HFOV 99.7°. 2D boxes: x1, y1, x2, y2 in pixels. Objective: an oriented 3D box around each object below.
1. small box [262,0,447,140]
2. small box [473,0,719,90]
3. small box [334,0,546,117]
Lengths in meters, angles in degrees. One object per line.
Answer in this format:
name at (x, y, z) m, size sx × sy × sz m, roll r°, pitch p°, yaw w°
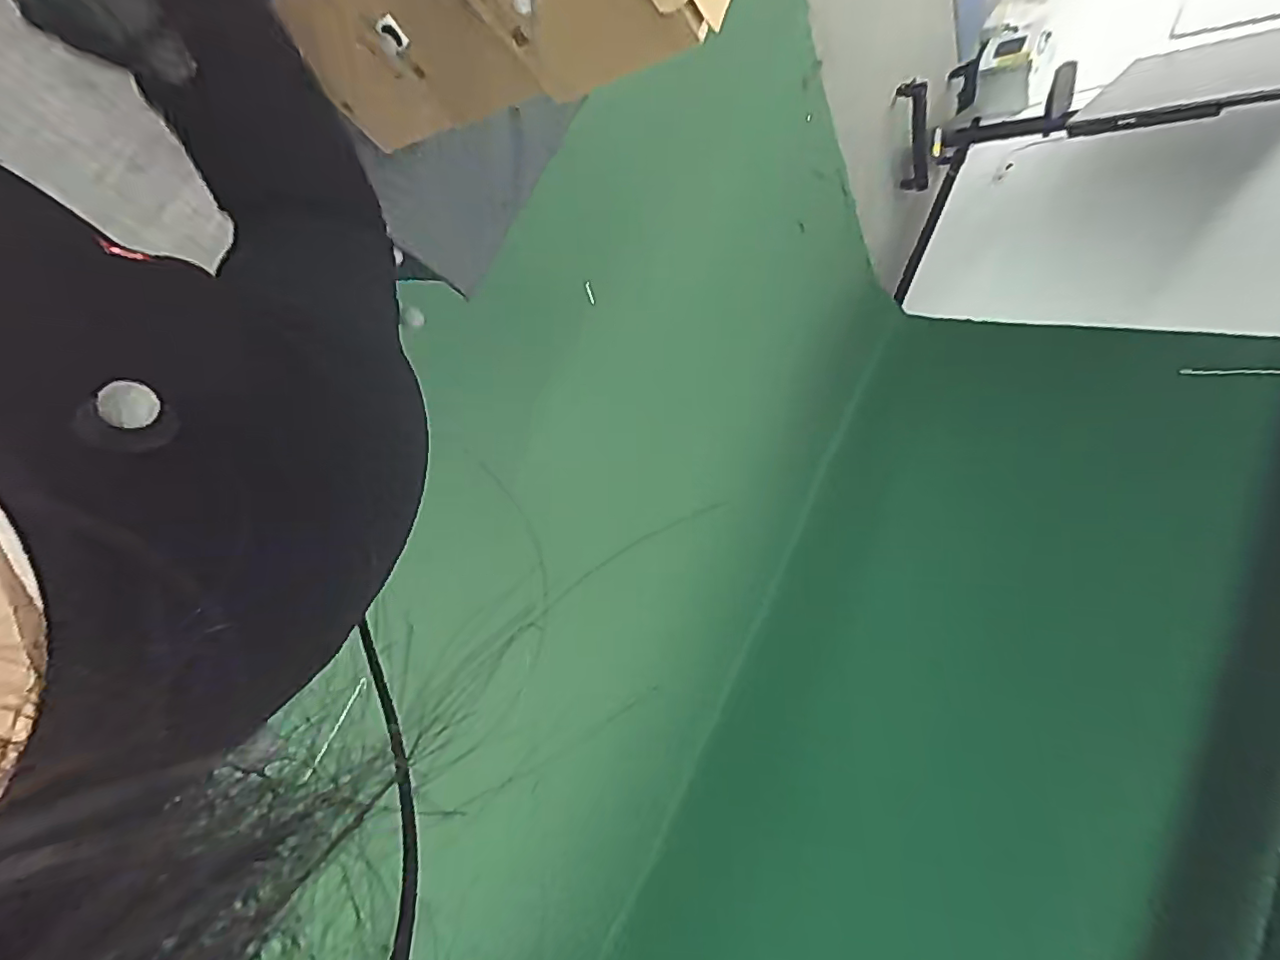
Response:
small box at (-0.273, -0.512, 0.588) m, size 0.168 × 0.176 × 0.179 m, roll 37°, pitch 73°, yaw -49°
small box at (-0.034, -0.430, 0.379) m, size 0.168 × 0.176 × 0.179 m, roll 26°, pitch 82°, yaw -48°
small box at (-0.154, -0.474, 0.484) m, size 0.168 × 0.176 × 0.179 m, roll 31°, pitch 79°, yaw -49°
